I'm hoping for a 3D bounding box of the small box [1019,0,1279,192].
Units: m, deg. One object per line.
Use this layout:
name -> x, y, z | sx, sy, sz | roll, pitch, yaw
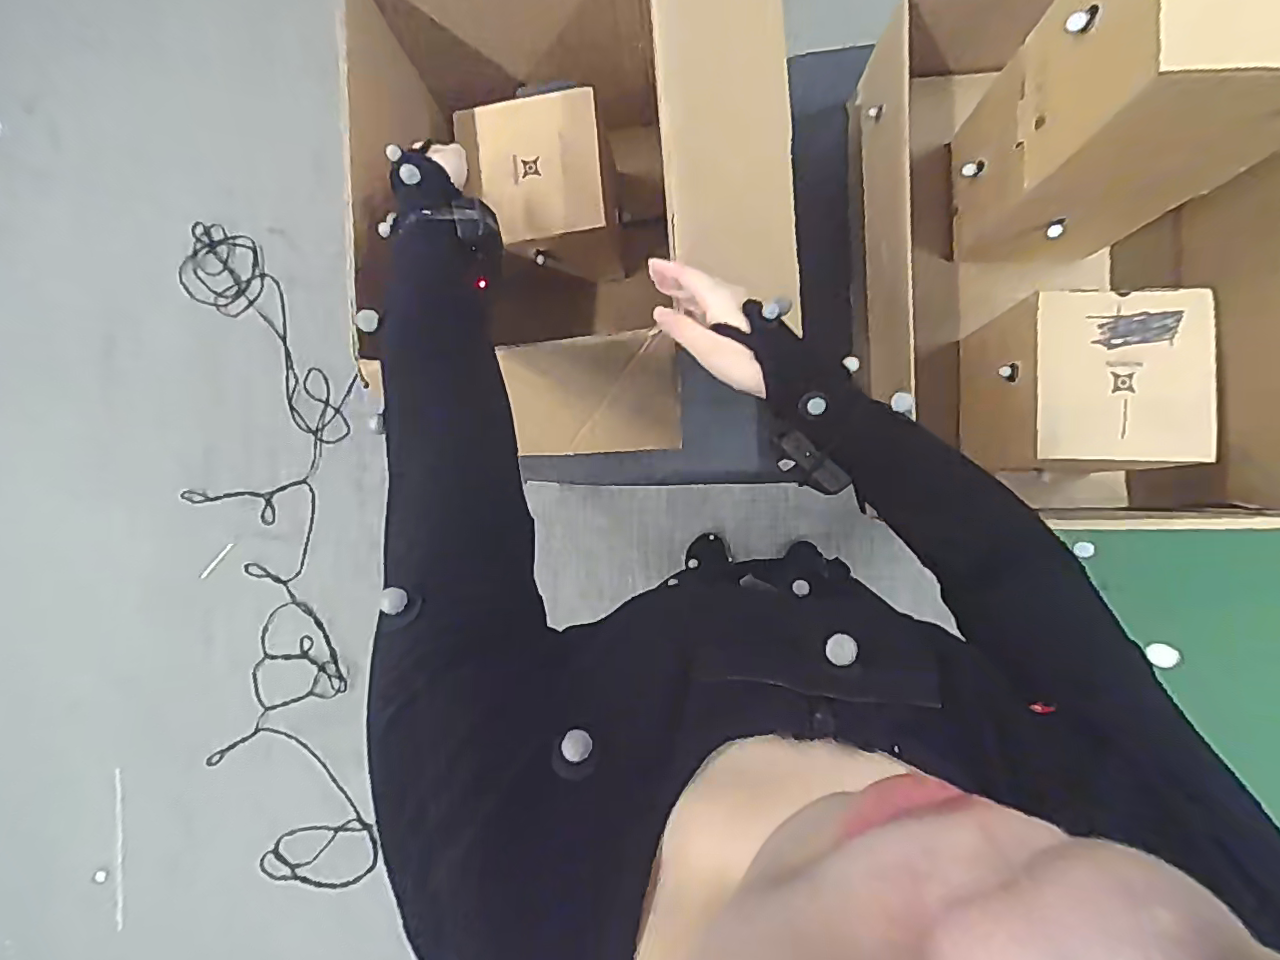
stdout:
small box -> 0.468, -0.375, 0.473 | 0.179, 0.176, 0.168 | 1, 90, 5
